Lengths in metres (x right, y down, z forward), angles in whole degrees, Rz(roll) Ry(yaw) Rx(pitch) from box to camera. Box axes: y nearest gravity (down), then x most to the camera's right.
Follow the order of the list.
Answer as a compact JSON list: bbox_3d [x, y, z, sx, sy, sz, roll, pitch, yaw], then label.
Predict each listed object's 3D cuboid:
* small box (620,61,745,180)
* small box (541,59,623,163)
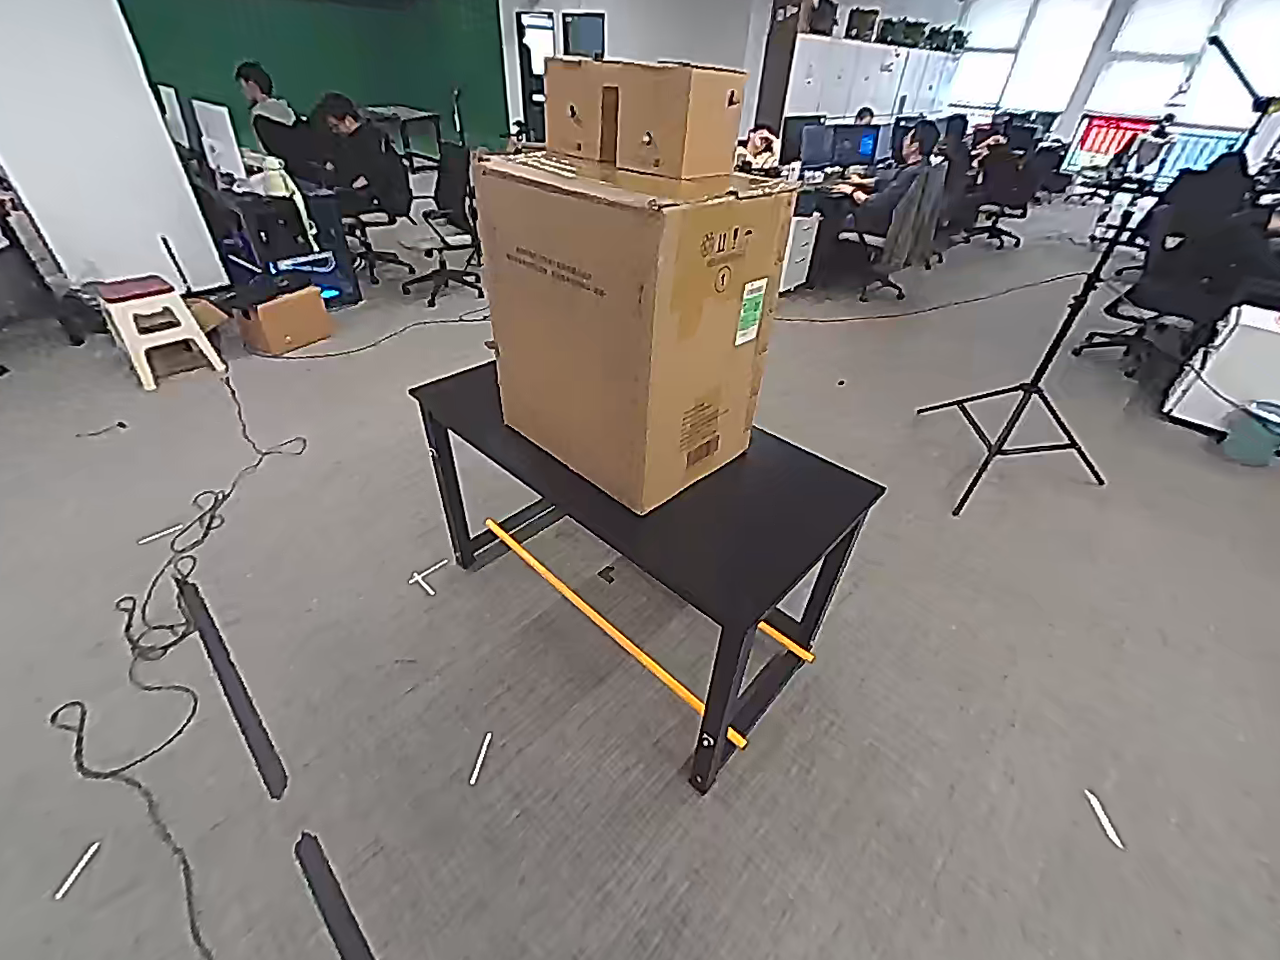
[{"bbox_3d":[0.073,-0.679,1.026,0.168,0.176,0.179,29,43,30],"label":"small box"},{"bbox_3d":[-0.087,-0.783,1.149,0.168,0.176,0.179,29,44,28],"label":"small box"}]
